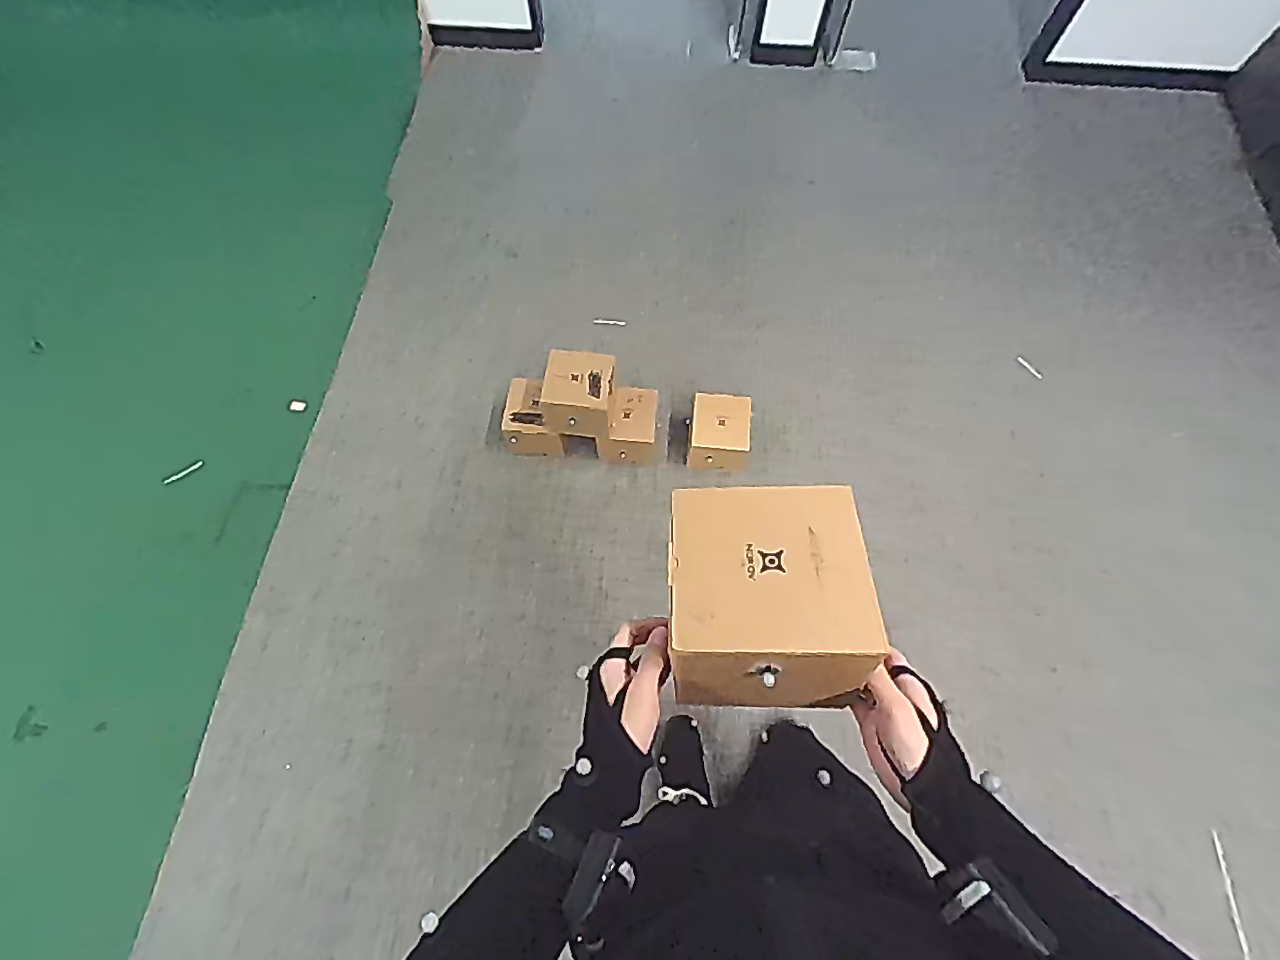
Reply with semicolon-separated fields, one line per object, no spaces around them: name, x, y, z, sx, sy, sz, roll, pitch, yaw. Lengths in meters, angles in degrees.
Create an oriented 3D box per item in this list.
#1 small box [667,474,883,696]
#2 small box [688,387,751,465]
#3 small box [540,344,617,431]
small box;0.118;0.110;0.548;0.179;0.176;0.168;1;53;4
small box;0.233;-0.156;1.613;0.168;0.176;0.179;5;68;2
small box;-0.159;-0.244;1.466;0.179;0.176;0.168;6;68;2
